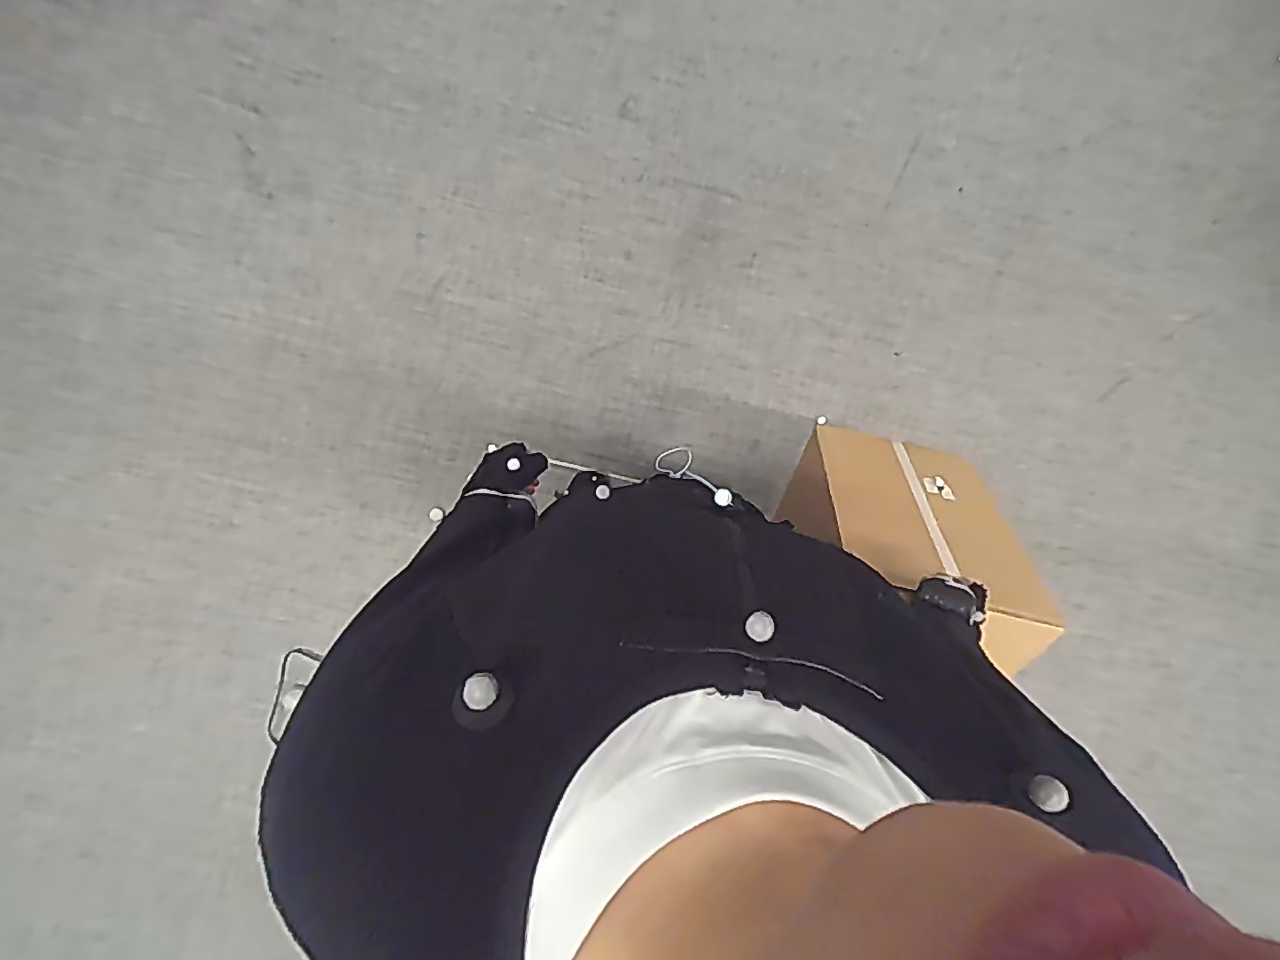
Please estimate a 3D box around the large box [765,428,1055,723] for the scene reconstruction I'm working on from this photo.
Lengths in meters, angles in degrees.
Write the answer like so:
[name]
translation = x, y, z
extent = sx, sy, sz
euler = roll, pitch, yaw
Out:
[large box]
translation = 0.433, 0.165, 0.999
extent = 0.320, 0.408, 0.320
euler = 14, 128, -1
